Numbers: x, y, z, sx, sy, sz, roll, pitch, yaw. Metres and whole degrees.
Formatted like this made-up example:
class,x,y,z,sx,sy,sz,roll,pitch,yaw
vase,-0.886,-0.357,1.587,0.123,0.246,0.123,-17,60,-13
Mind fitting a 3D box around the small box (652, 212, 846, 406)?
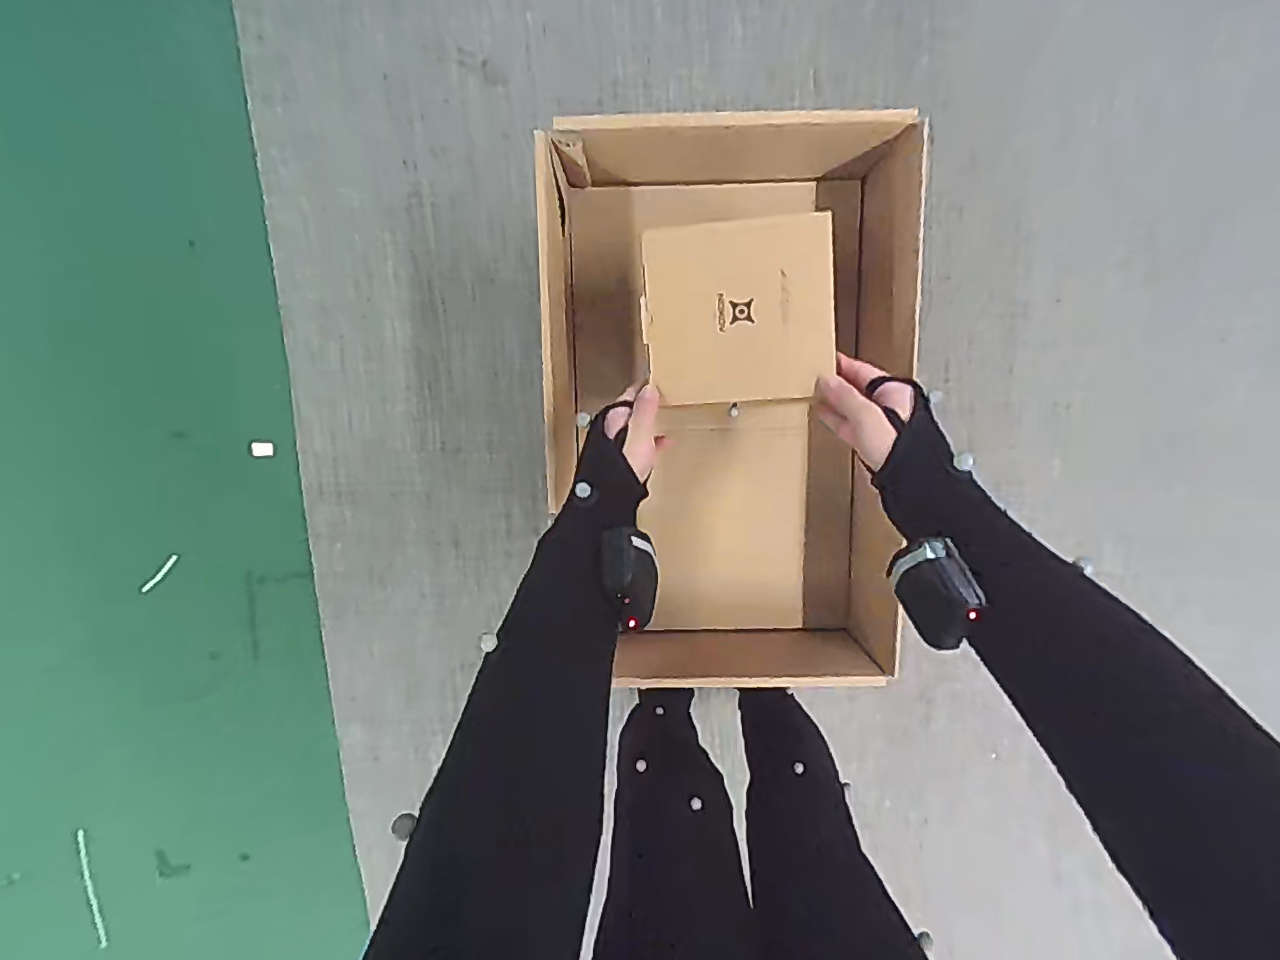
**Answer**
class,x,y,z,sx,sy,sz,roll,pitch,yaw
small box,0.109,-0.166,0.579,0.179,0.176,0.168,-2,96,6
